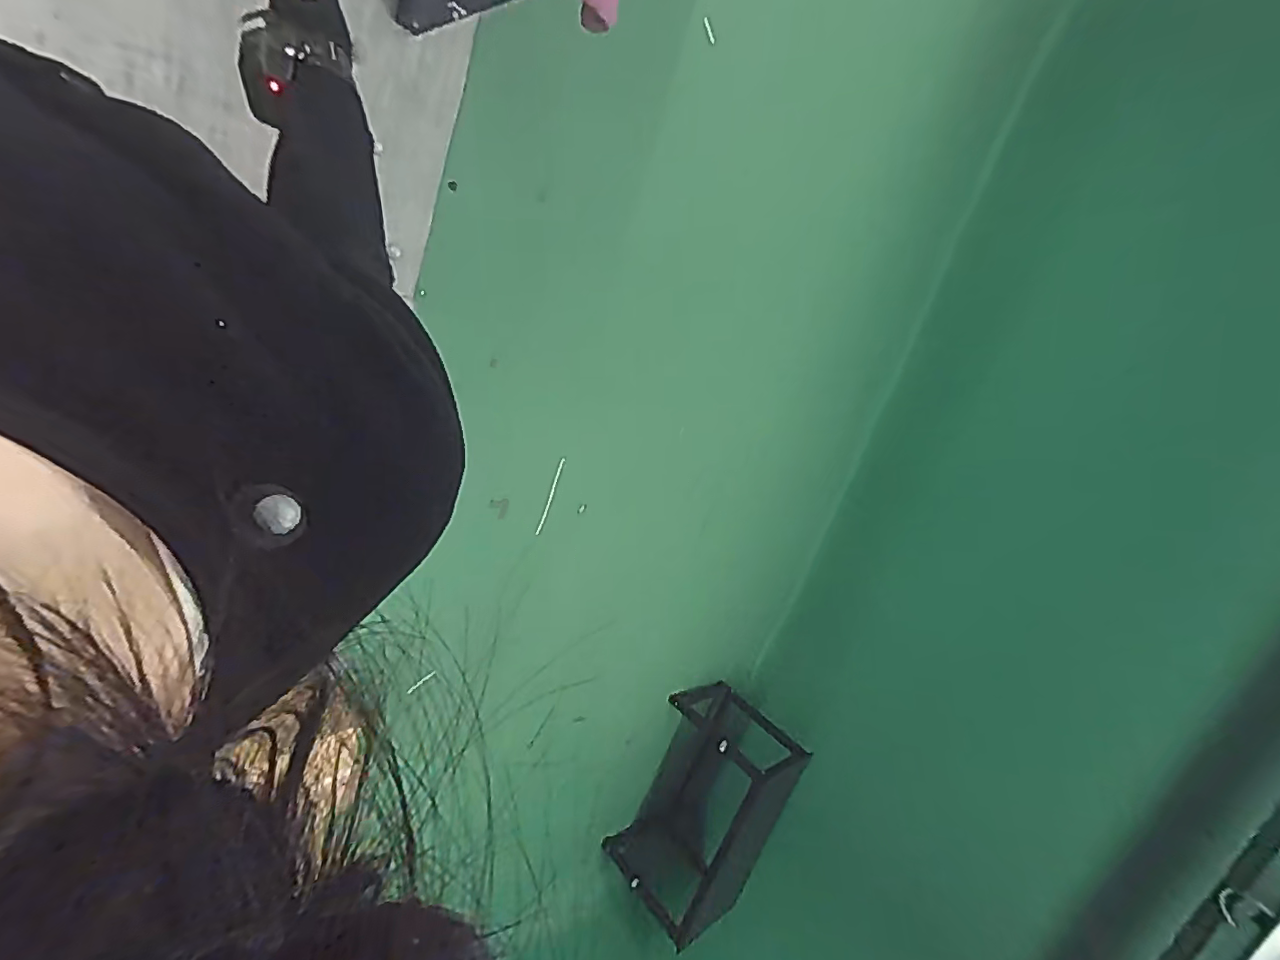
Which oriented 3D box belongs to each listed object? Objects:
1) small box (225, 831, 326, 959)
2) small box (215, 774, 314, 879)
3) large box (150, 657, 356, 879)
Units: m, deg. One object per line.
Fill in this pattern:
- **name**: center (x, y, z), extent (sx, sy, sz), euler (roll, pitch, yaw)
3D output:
- **small box**: center (-0.831, 0.945, 1.230), extent (0.168, 0.176, 0.179), euler (-5, 116, -43)
- **small box**: center (-0.930, 0.875, 1.341), extent (0.179, 0.176, 0.168), euler (-7, 117, -42)
- **large box**: center (-1.069, 0.773, 1.517), extent (0.408, 0.320, 0.320), euler (-13, 123, -42)
